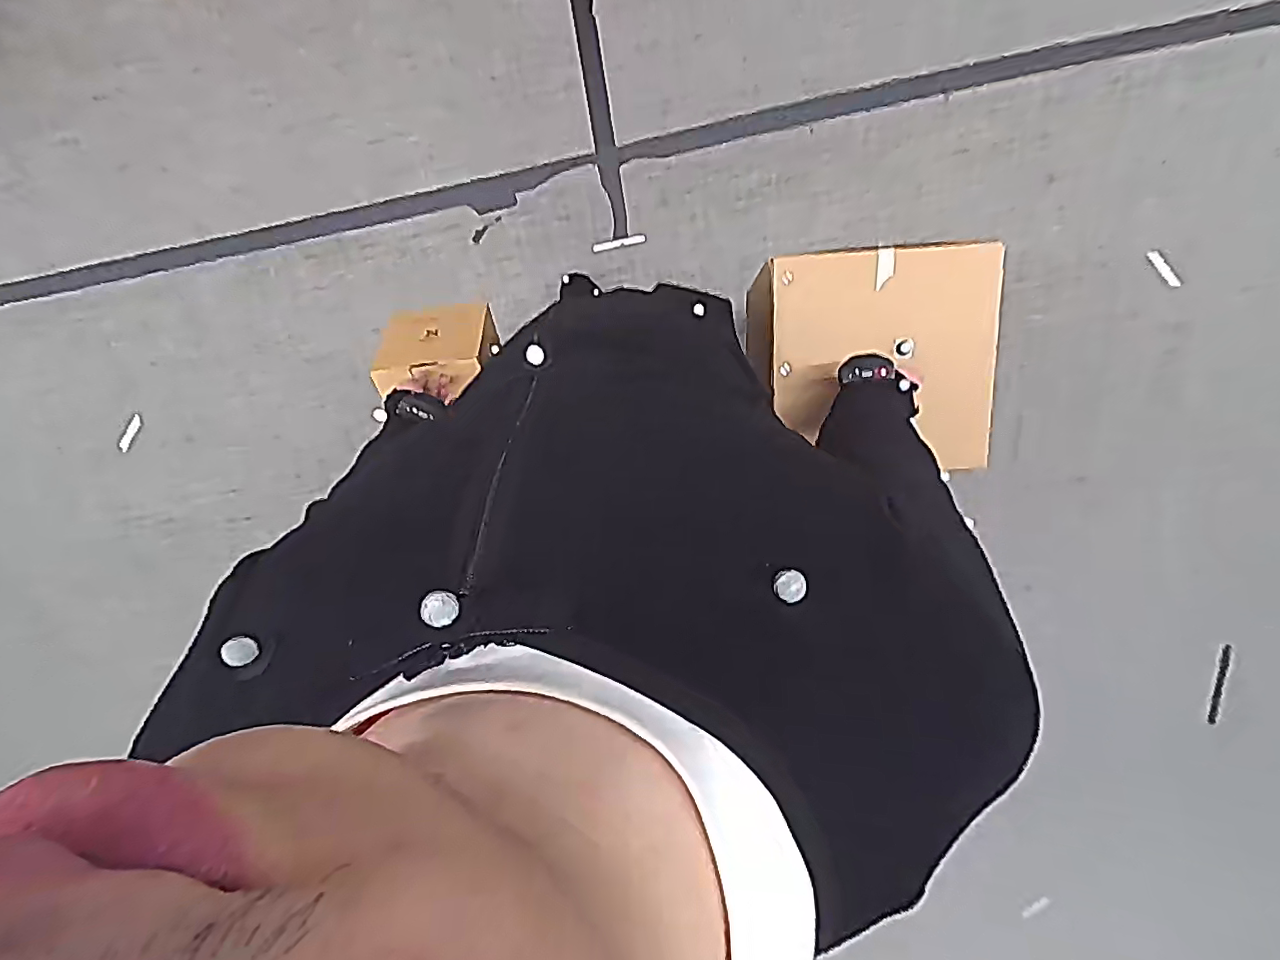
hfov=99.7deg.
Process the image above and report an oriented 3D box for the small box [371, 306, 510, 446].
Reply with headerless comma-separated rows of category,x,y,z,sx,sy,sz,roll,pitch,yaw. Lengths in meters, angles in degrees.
small box,-0.328,-0.172,0.929,0.168,0.179,0.176,-8,136,-1
